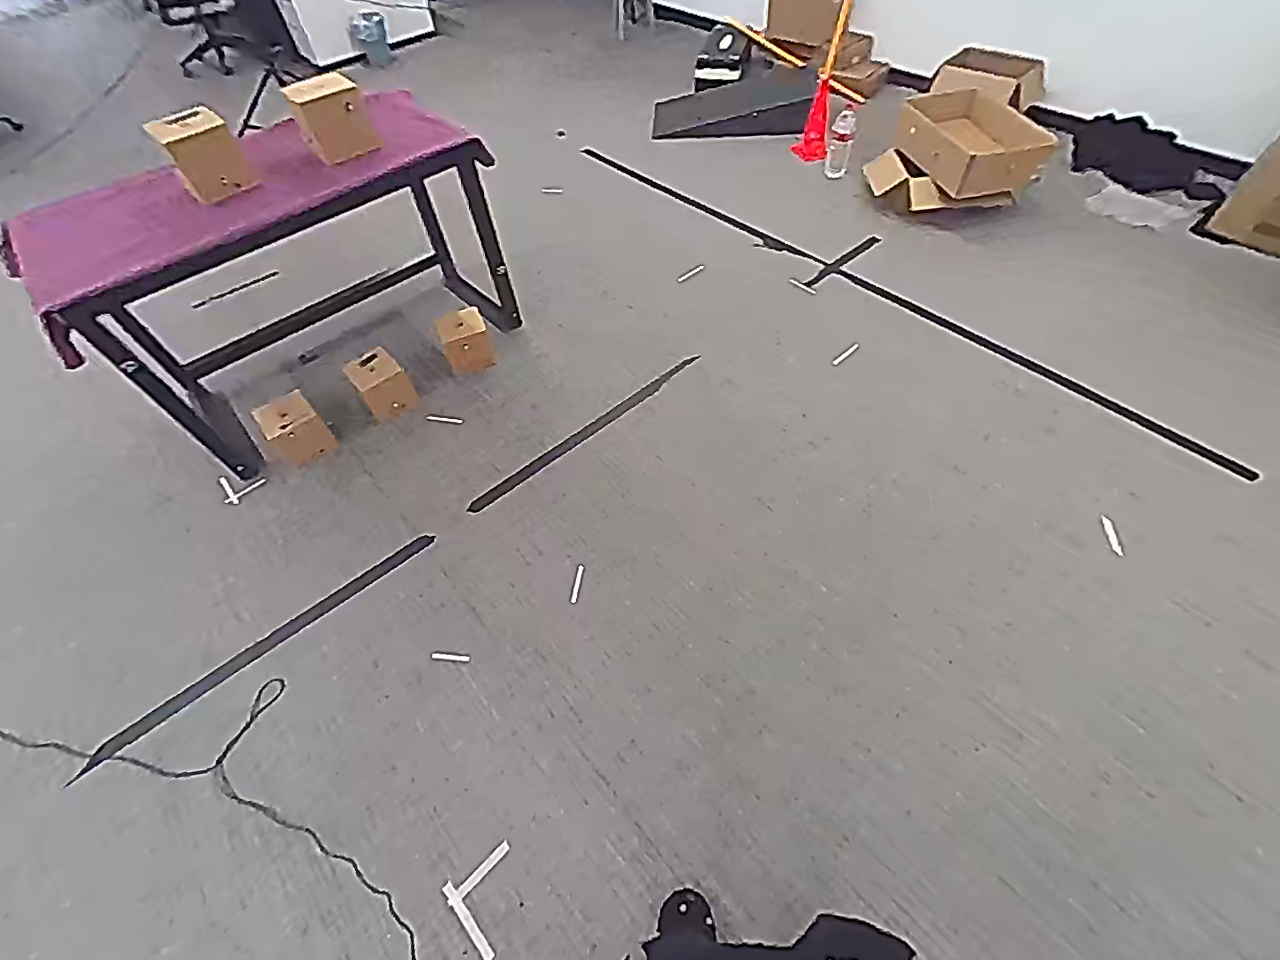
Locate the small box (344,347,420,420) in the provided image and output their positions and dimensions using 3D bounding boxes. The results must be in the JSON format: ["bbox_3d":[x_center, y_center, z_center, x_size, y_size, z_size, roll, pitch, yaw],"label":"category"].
[{"bbox_3d":[-0.956,-0.354,2.012,0.168,0.176,0.179,-38,62,-21],"label":"small box"}]

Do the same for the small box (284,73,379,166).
[{"bbox_3d":[-0.921,-1.089,1.636,0.179,0.176,0.168,-36,59,-19],"label":"small box"}]

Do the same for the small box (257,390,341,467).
[{"bbox_3d":[-1.198,-0.180,1.907,0.168,0.176,0.179,-36,59,-20],"label":"small box"}]

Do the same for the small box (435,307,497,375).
[{"bbox_3d":[-0.679,-0.546,2.131,0.179,0.176,0.168,-23,57,-11],"label":"small box"}]
